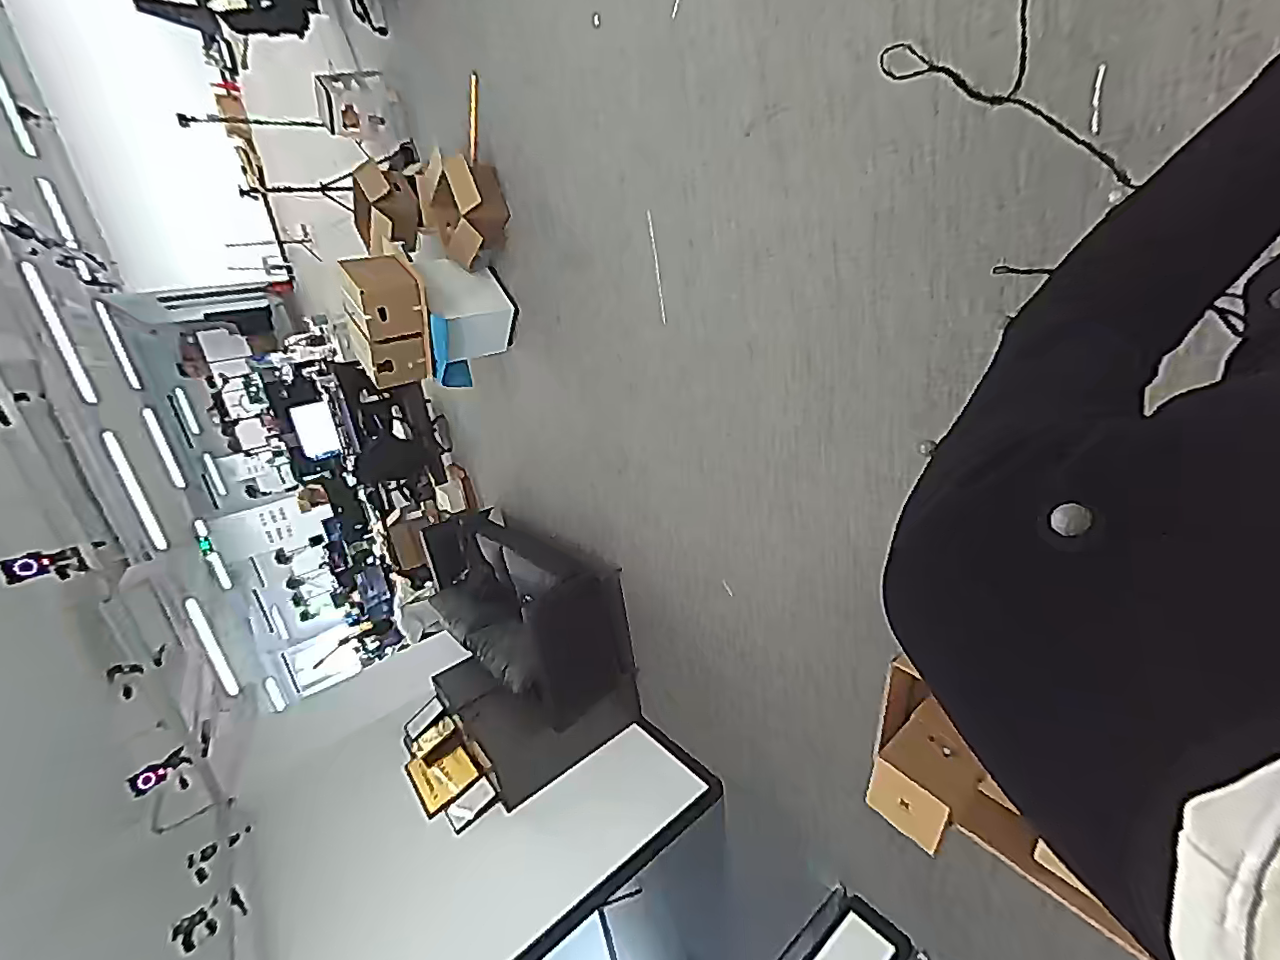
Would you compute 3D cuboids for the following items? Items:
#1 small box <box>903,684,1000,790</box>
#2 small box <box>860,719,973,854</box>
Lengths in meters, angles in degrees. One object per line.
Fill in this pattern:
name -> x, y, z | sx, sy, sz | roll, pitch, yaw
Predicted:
small box -> 0.767, 0.657, 1.358 | 0.168, 0.176, 0.179 | 29, 130, 43
small box -> 0.644, 0.708, 1.263 | 0.168, 0.176, 0.179 | 28, 129, 44
